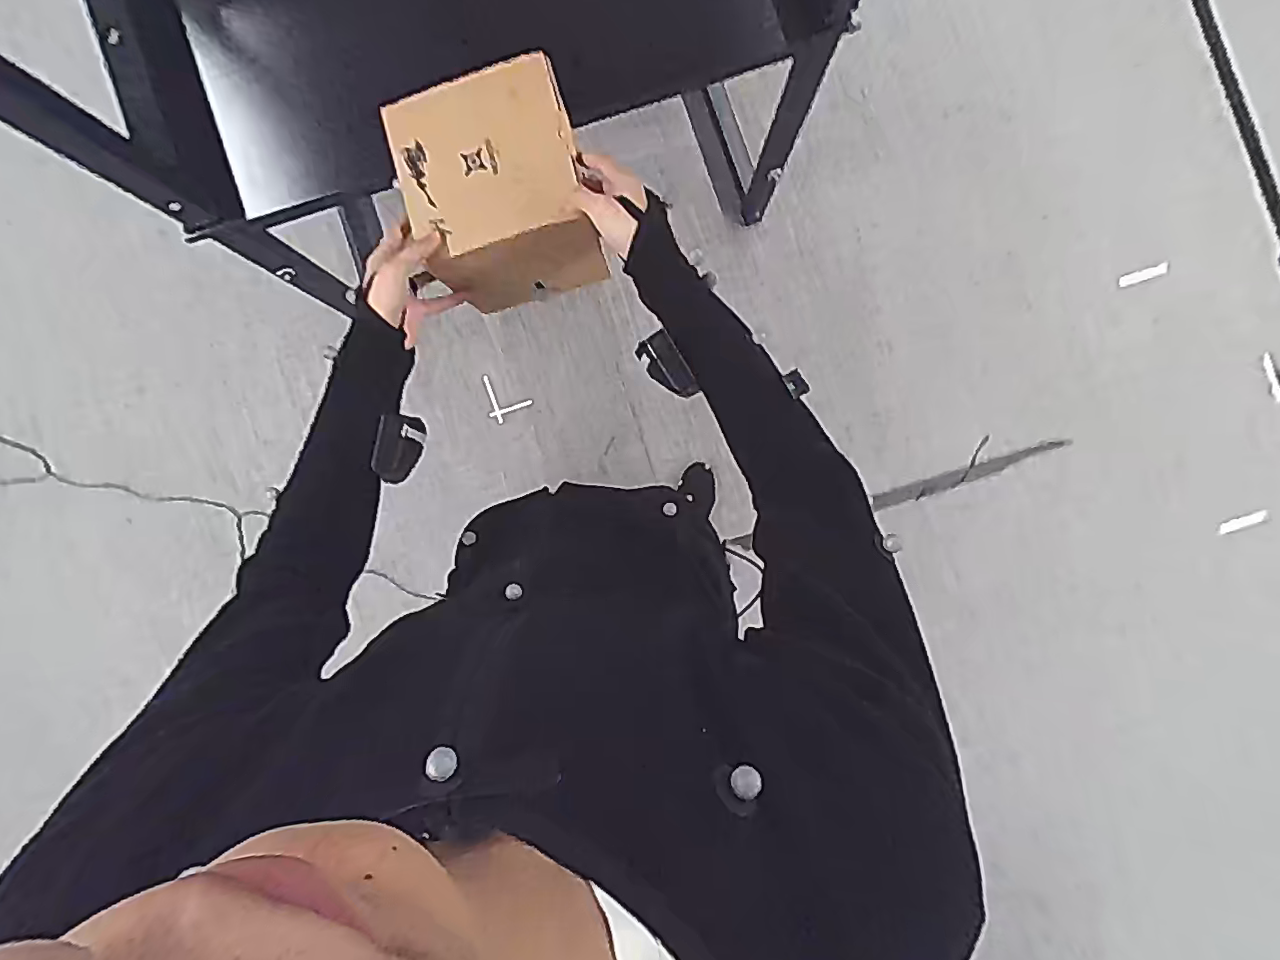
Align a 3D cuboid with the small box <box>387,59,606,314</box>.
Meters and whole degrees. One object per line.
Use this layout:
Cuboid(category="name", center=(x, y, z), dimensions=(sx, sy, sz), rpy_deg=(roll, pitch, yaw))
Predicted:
Cuboid(category="small box", center=(-0.141, -0.305, 0.601), dimensions=(0.179, 0.176, 0.168), rpy_deg=(-14, 88, 4))
